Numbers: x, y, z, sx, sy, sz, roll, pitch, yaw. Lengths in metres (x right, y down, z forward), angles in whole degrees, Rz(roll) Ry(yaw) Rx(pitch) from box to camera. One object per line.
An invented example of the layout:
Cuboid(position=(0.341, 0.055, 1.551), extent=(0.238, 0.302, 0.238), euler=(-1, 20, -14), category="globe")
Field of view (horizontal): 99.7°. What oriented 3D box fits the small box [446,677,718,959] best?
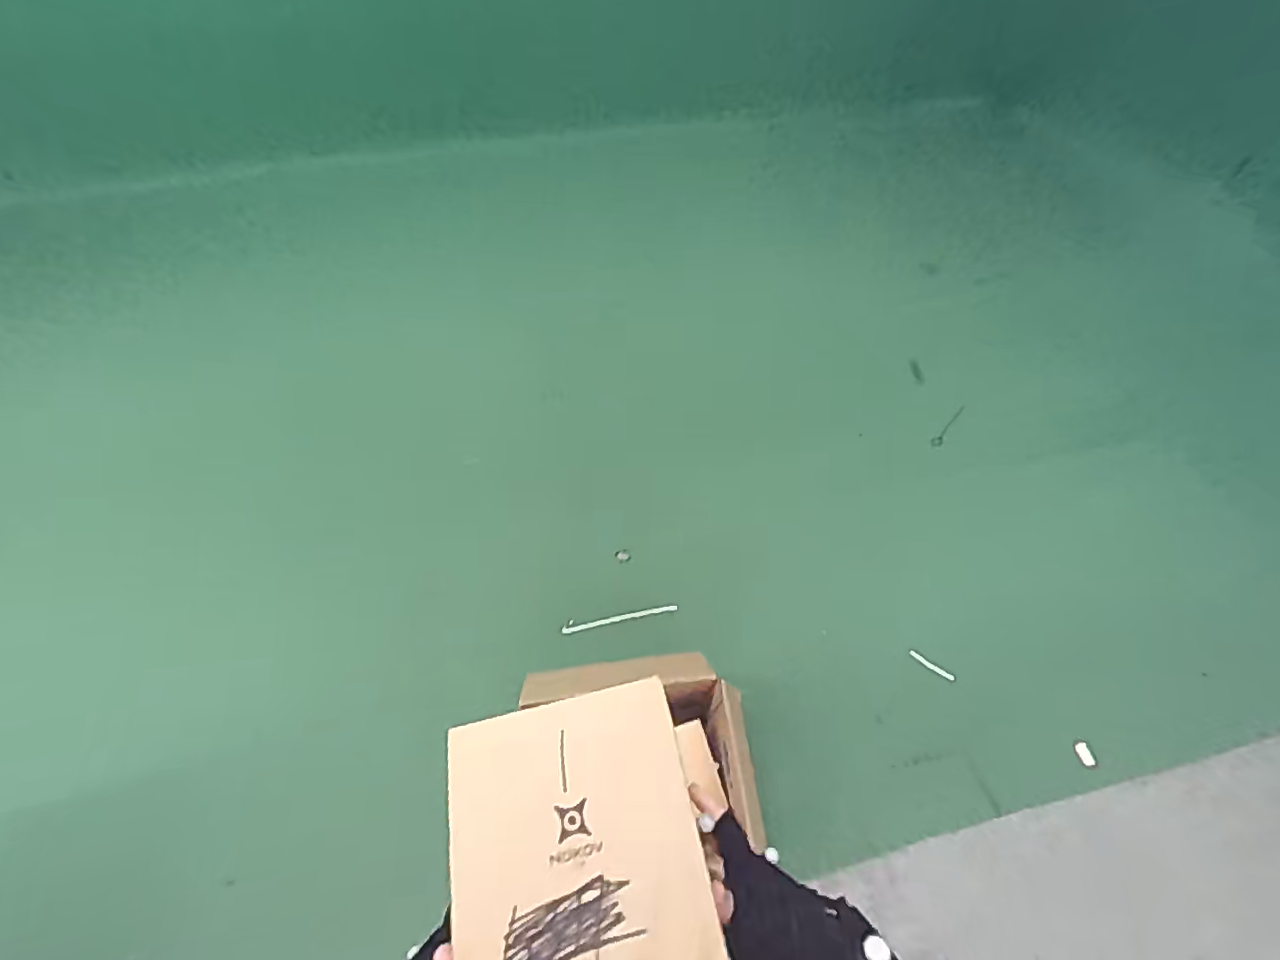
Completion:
Cuboid(position=(-0.039, 0.276, 0.424), extent=(0.168, 0.176, 0.179), euler=(-12, 57, -2), category="small box")
